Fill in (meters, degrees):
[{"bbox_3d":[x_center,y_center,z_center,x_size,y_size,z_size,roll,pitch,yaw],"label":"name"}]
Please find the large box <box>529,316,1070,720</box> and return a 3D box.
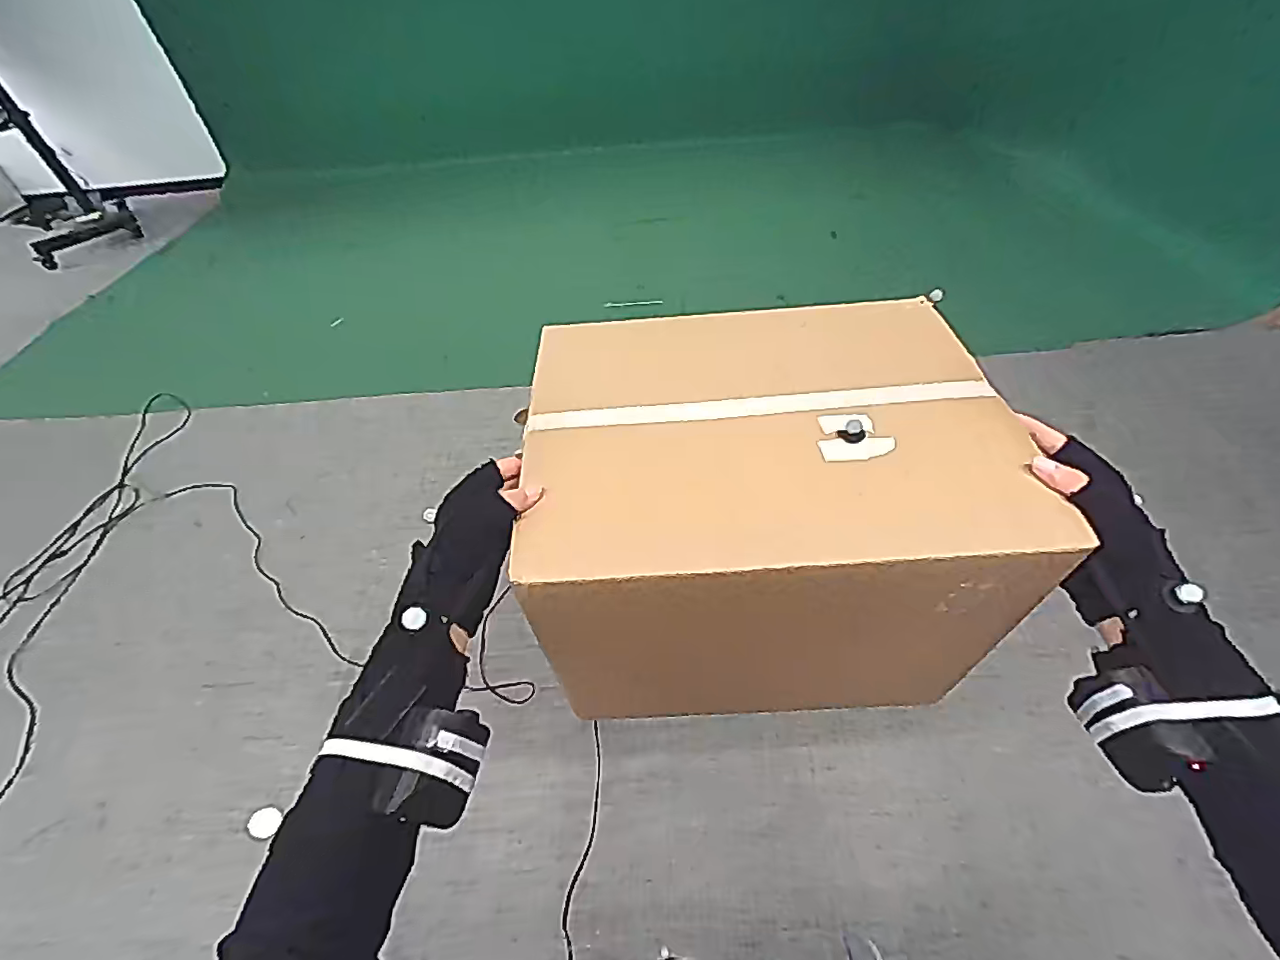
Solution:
[{"bbox_3d":[0.115,0.048,0.598,0.408,0.320,0.320,-4,49,1],"label":"large box"}]
